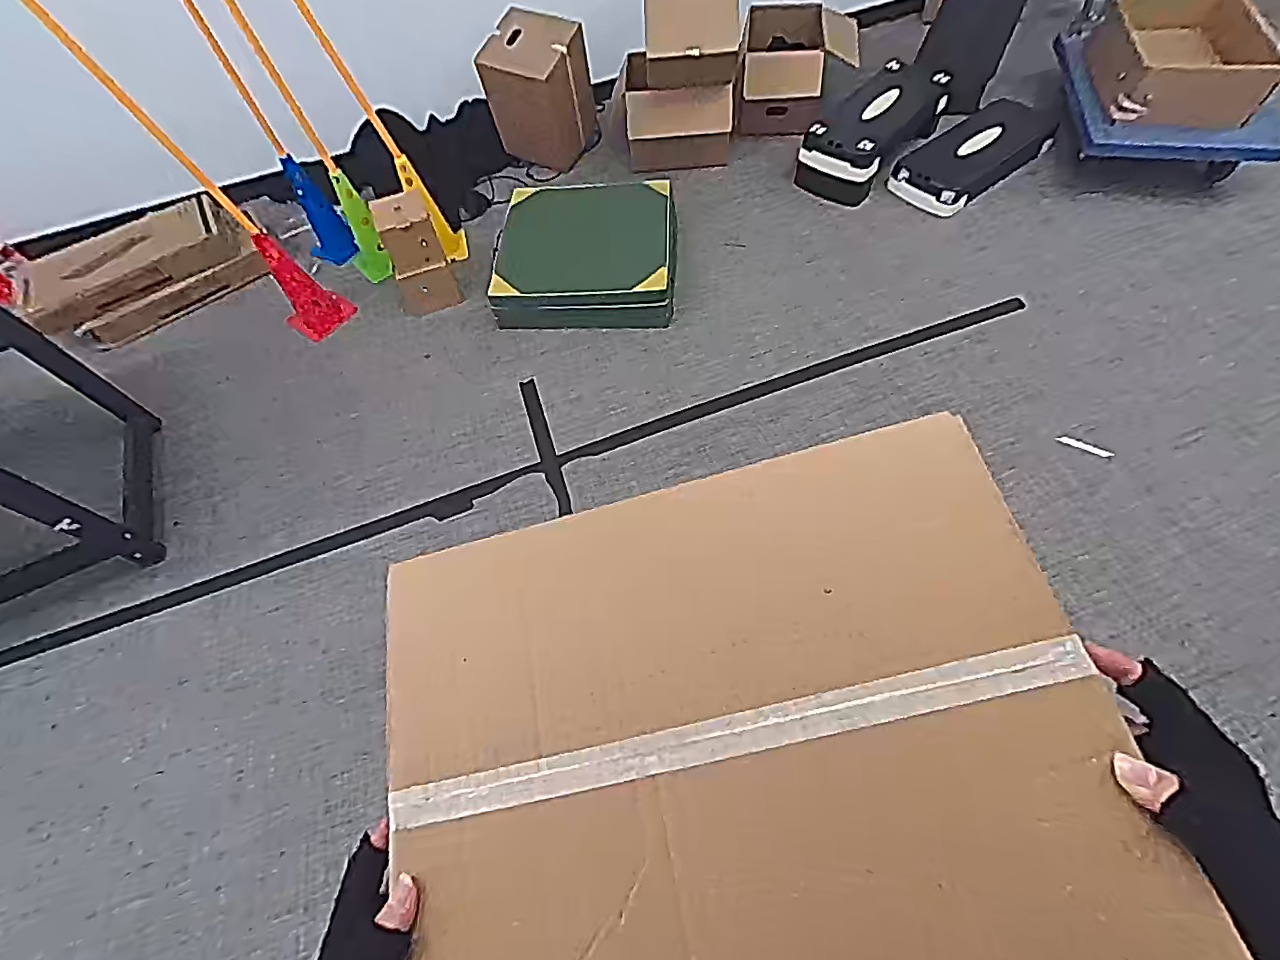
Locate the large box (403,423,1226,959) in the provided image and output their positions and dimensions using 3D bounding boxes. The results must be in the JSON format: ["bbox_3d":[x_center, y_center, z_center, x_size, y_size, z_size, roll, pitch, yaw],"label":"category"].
[{"bbox_3d":[0.077,0.204,0.453,0.408,0.320,0.320,-16,65,6],"label":"large box"}]
